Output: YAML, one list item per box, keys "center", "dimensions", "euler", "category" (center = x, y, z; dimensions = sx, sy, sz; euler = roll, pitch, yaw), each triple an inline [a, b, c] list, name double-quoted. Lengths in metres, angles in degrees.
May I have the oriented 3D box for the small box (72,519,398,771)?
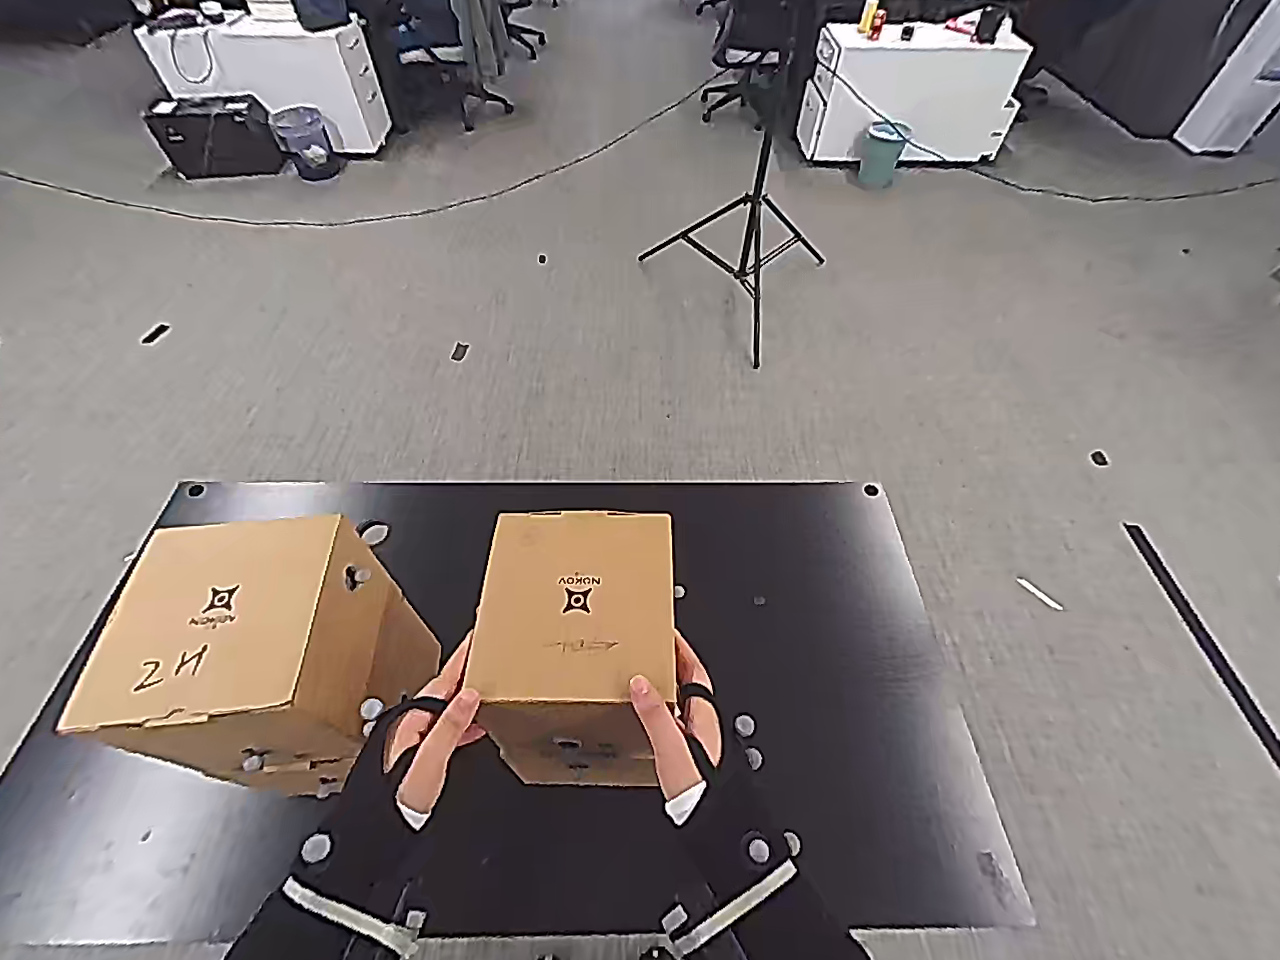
- center: [-0.350, 0.159, 0.518]
  dimensions: [0.168, 0.176, 0.179]
  euler: [-5, 53, -4]
  category: "small box"

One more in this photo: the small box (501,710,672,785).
- center: [-0.053, 0.261, 0.652]
  dimensions: [0.179, 0.176, 0.168]
  euler: [1, 52, -1]
  category: "small box"

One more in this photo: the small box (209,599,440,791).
- center: [-0.352, 0.263, 0.648]
  dimensions: [0.168, 0.176, 0.179]
  euler: [-4, 53, -4]
  category: "small box"

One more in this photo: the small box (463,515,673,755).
- center: [-0.055, 0.152, 0.529]
  dimensions: [0.168, 0.176, 0.179]
  euler: [0, 51, 1]
  category: "small box"
